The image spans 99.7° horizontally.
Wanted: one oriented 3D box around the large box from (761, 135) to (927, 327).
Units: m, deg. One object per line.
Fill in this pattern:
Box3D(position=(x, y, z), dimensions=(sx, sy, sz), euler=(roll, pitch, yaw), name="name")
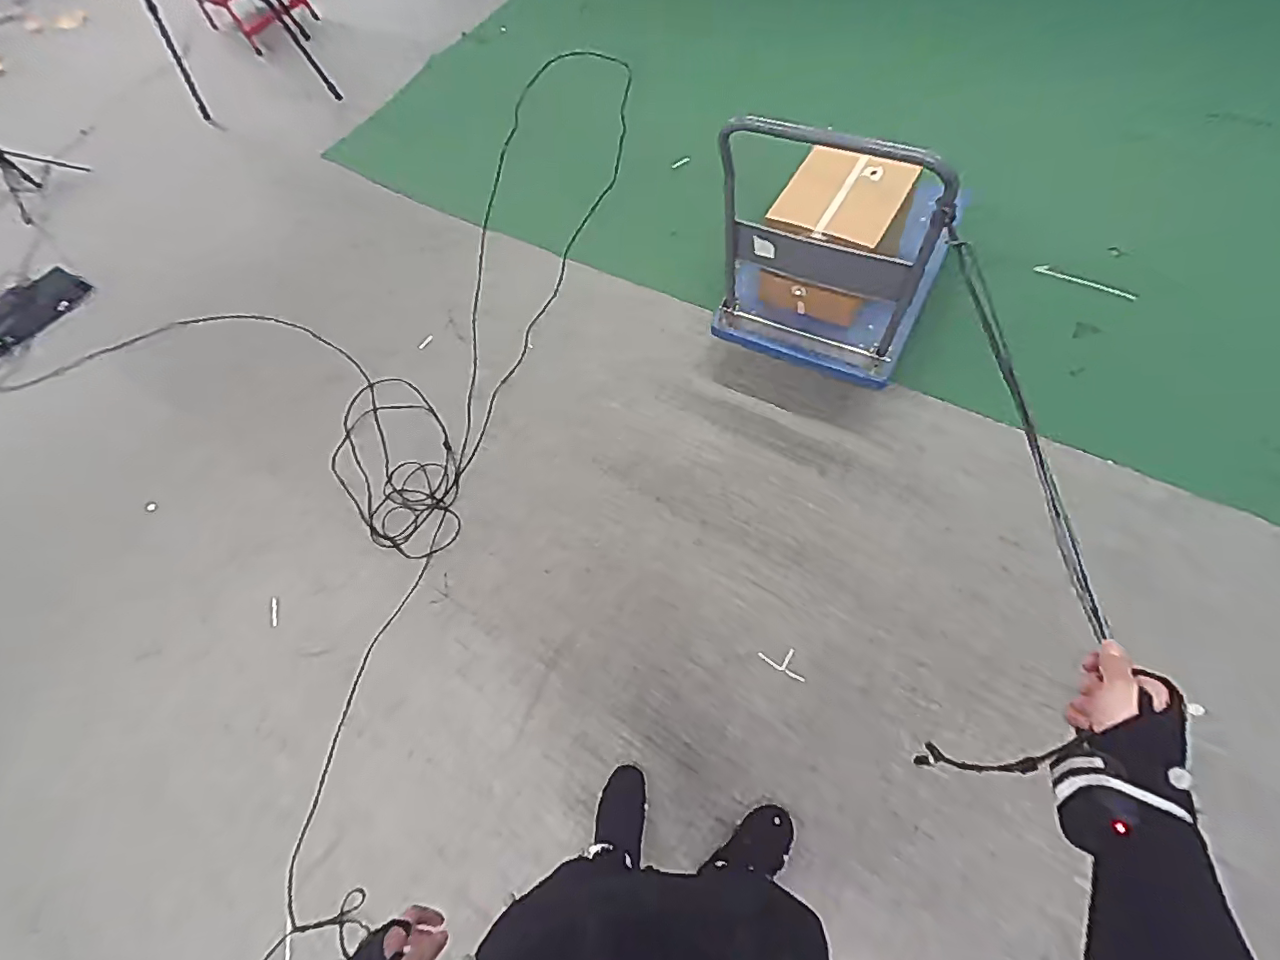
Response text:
Box3D(position=(0.595, -0.742, 1.628), dimensions=(0.320, 0.320, 0.408), euler=(28, 71, 19), name="large box")
